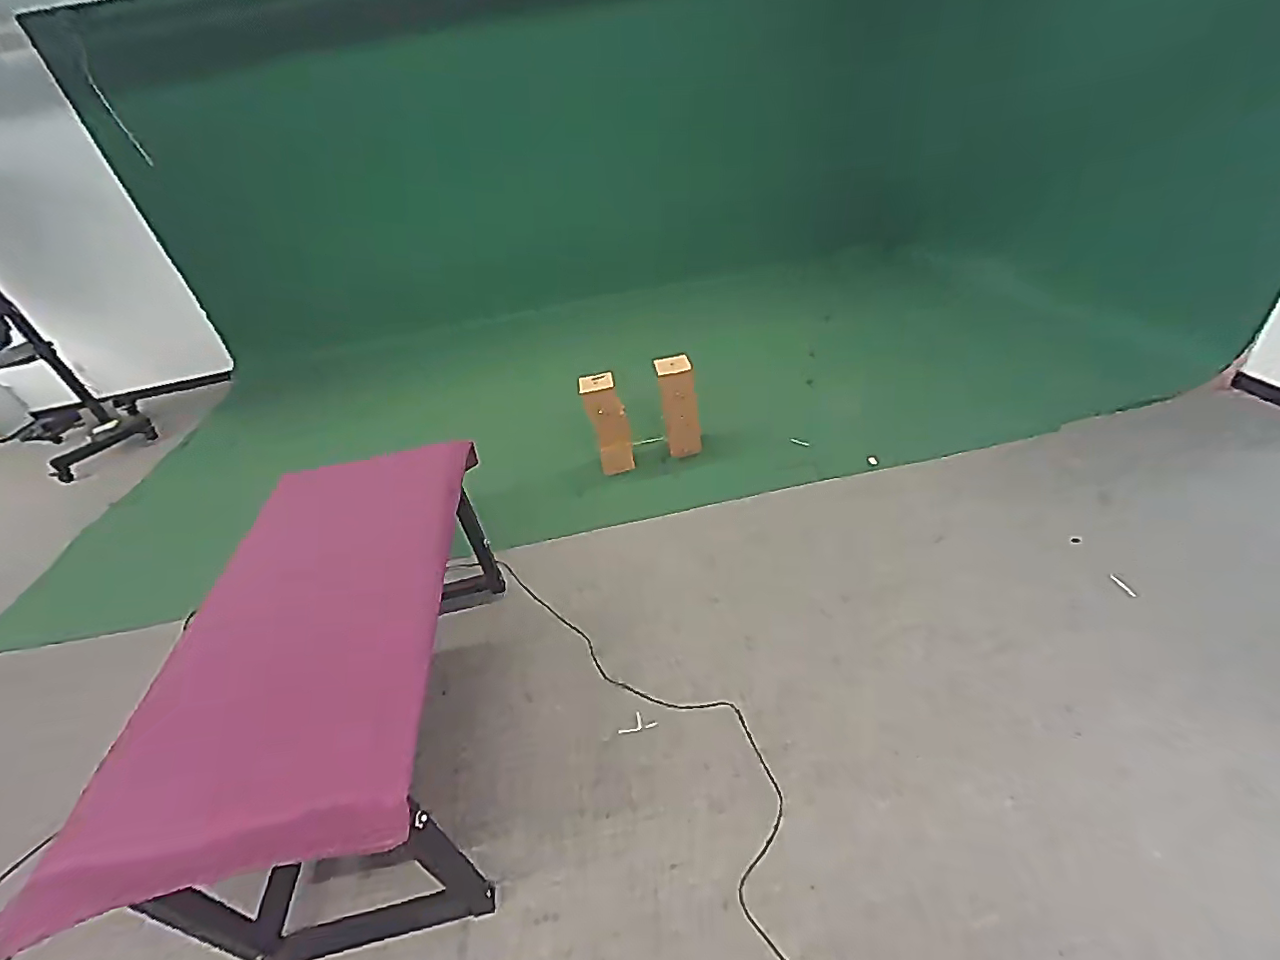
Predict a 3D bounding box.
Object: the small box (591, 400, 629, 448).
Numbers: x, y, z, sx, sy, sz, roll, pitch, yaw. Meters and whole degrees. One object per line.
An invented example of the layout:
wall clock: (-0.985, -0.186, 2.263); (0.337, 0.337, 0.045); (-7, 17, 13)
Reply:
small box: (-0.158, -0.289, 2.796); (0.179, 0.176, 0.168); (-14, 36, -3)

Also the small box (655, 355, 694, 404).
small box: (0.173, -0.505, 2.717); (0.168, 0.176, 0.179); (-11, 38, 0)

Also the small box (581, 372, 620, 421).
small box: (-0.200, -0.416, 2.700); (0.168, 0.176, 0.179); (-12, 36, 0)

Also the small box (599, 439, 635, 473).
small box: (-0.131, -0.152, 2.880); (0.168, 0.176, 0.179); (-14, 36, -3)

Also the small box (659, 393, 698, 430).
small box: (0.201, -0.376, 2.816); (0.168, 0.176, 0.179); (-11, 38, -2)
